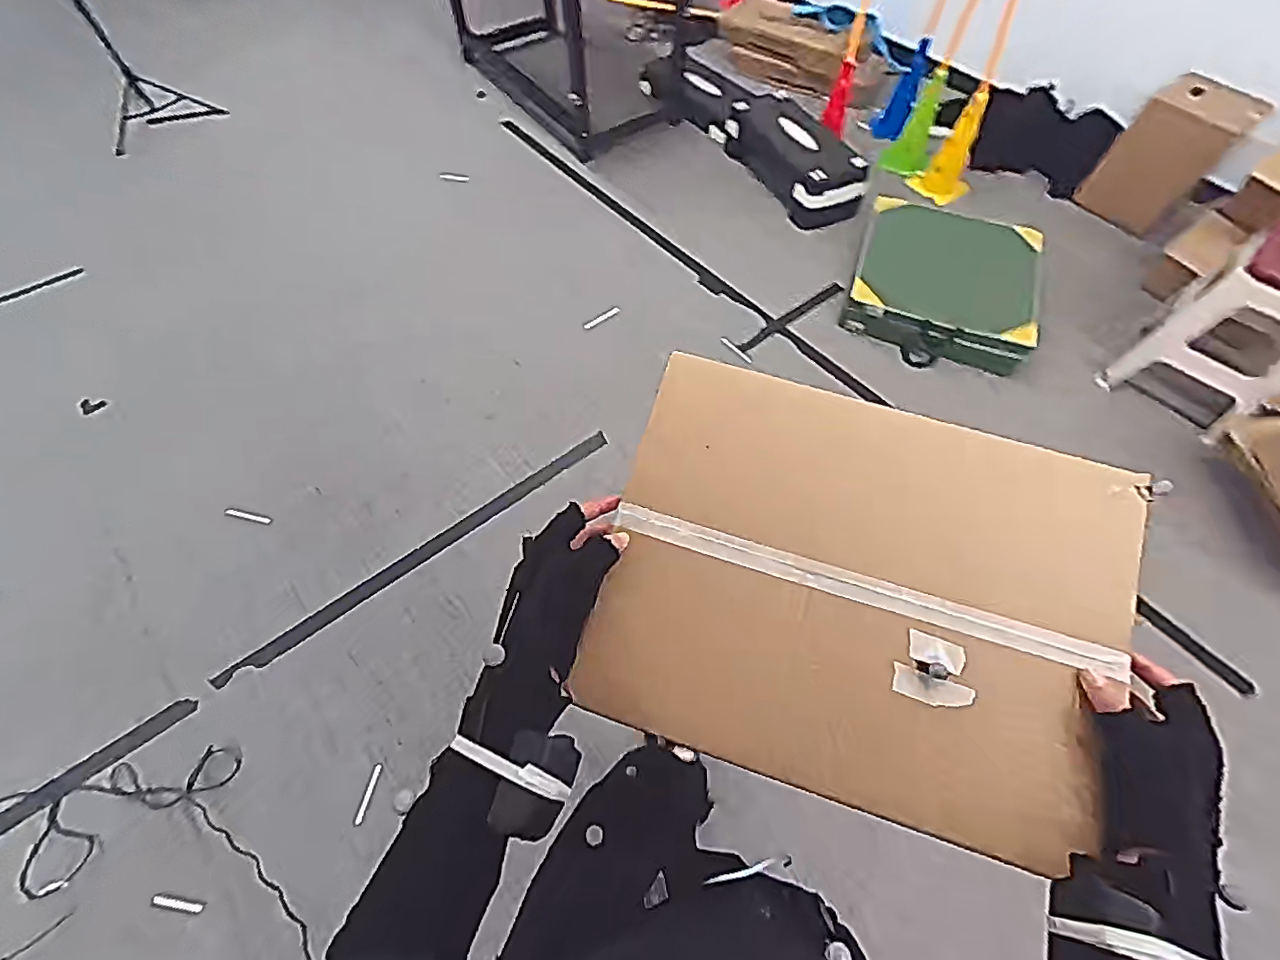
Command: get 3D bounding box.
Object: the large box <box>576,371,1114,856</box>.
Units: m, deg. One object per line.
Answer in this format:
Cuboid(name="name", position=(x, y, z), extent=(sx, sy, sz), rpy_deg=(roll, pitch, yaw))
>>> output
Cuboid(name="large box", position=(0.182, 0.123, 0.599), extent=(0.408, 0.320, 0.320), rpy_deg=(16, 79, 7))
